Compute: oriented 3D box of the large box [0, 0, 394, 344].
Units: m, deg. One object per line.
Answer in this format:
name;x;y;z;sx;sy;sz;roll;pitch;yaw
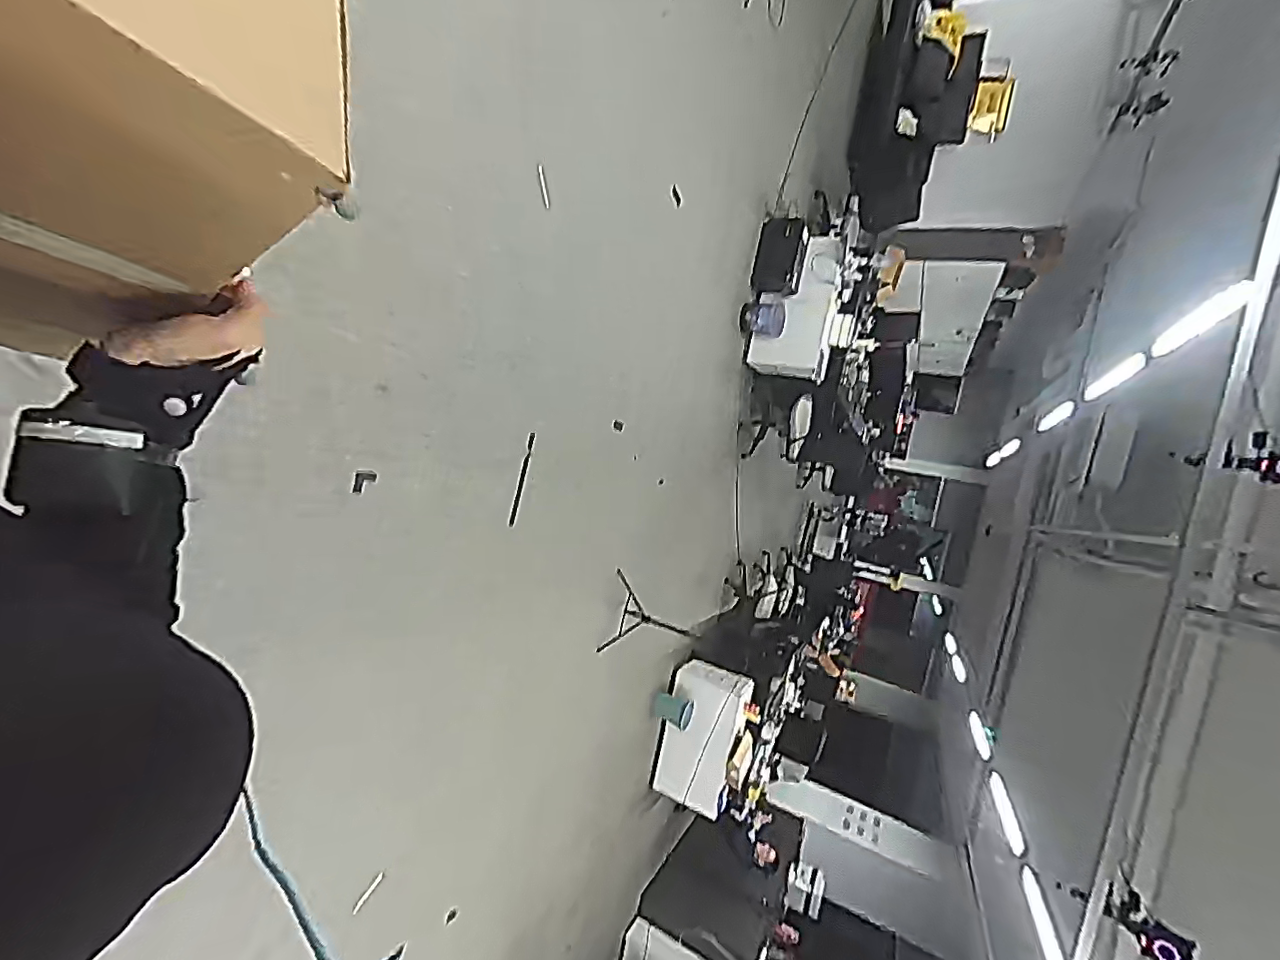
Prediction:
large box;-0.387;-0.316;0.234;0.408;0.320;0.320;16;63;-60
